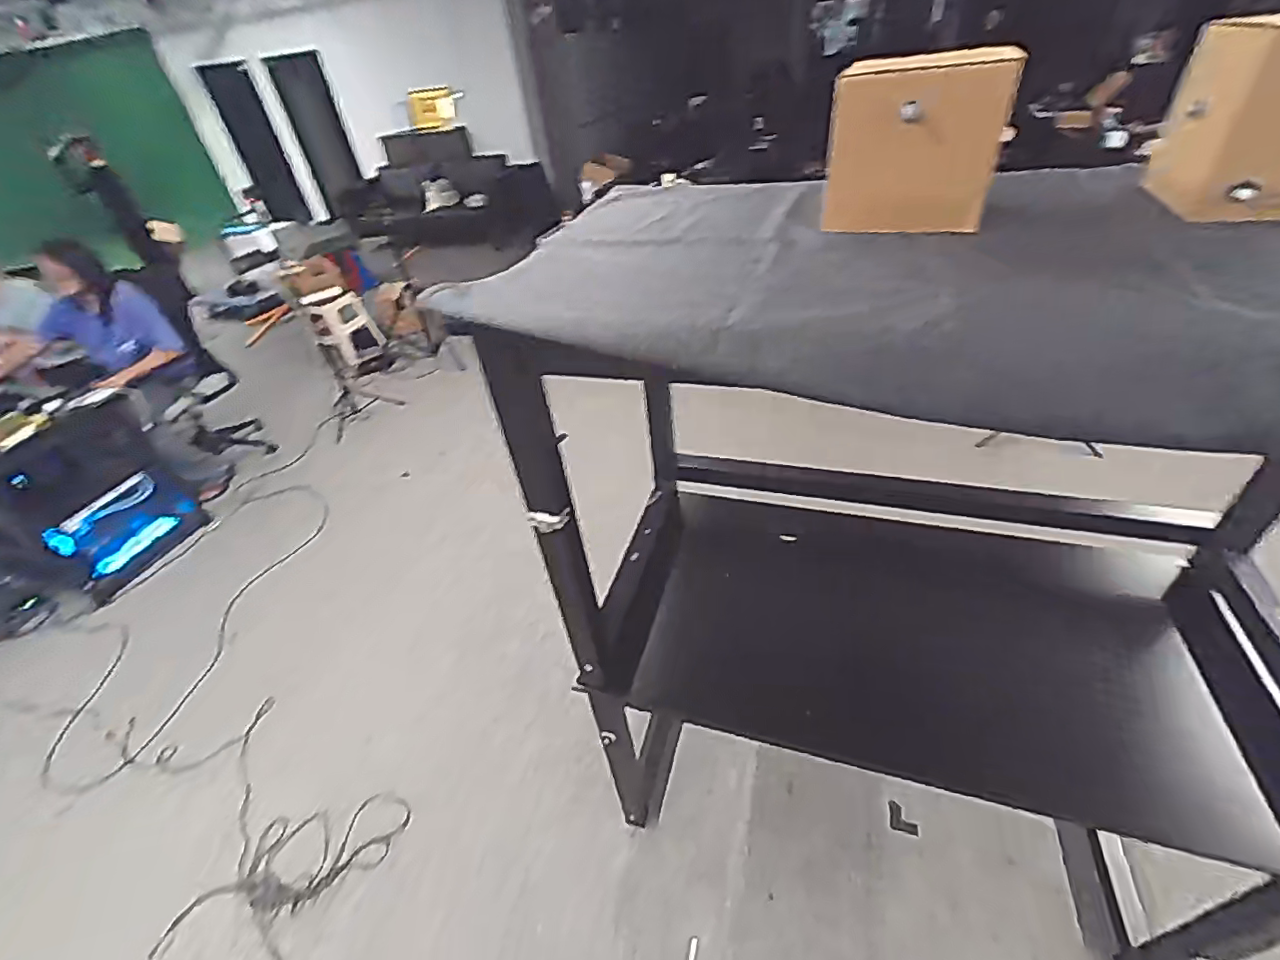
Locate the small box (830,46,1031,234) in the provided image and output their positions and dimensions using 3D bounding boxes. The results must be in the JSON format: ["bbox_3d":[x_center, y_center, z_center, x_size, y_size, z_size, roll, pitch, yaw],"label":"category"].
[{"bbox_3d":[0.344,-0.411,0.663,0.179,0.176,0.168,11,42,22],"label":"small box"}]

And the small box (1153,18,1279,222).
[{"bbox_3d":[0.695,-0.376,0.563,0.168,0.176,0.179,10,41,20],"label":"small box"}]
